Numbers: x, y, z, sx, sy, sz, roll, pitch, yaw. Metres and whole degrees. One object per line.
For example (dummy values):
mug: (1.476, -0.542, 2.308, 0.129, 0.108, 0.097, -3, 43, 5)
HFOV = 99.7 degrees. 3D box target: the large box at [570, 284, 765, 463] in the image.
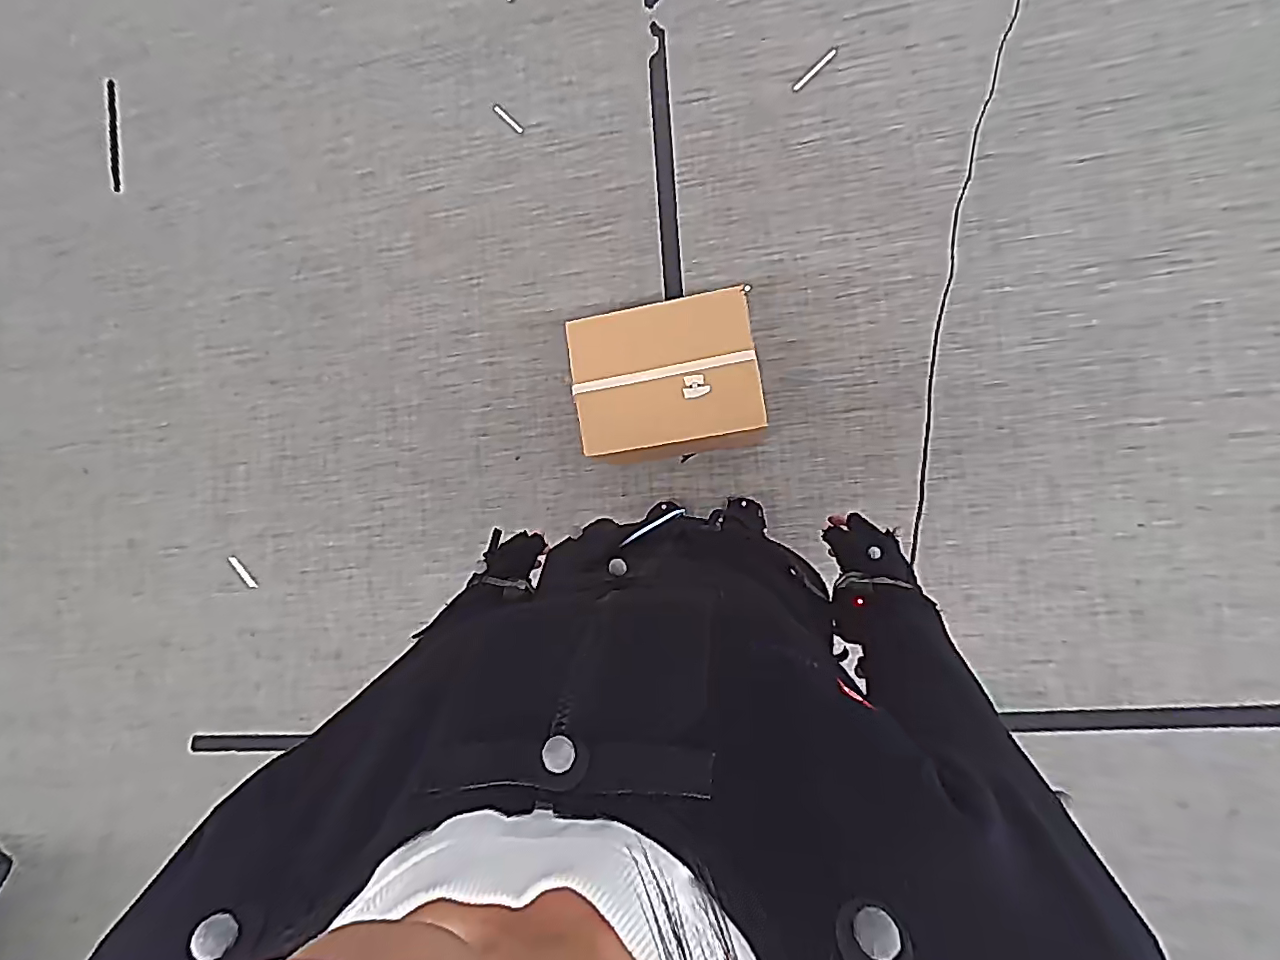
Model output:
large box: (0.076, -0.237, 1.342, 0.408, 0.320, 0.320, -9, 87, 9)
